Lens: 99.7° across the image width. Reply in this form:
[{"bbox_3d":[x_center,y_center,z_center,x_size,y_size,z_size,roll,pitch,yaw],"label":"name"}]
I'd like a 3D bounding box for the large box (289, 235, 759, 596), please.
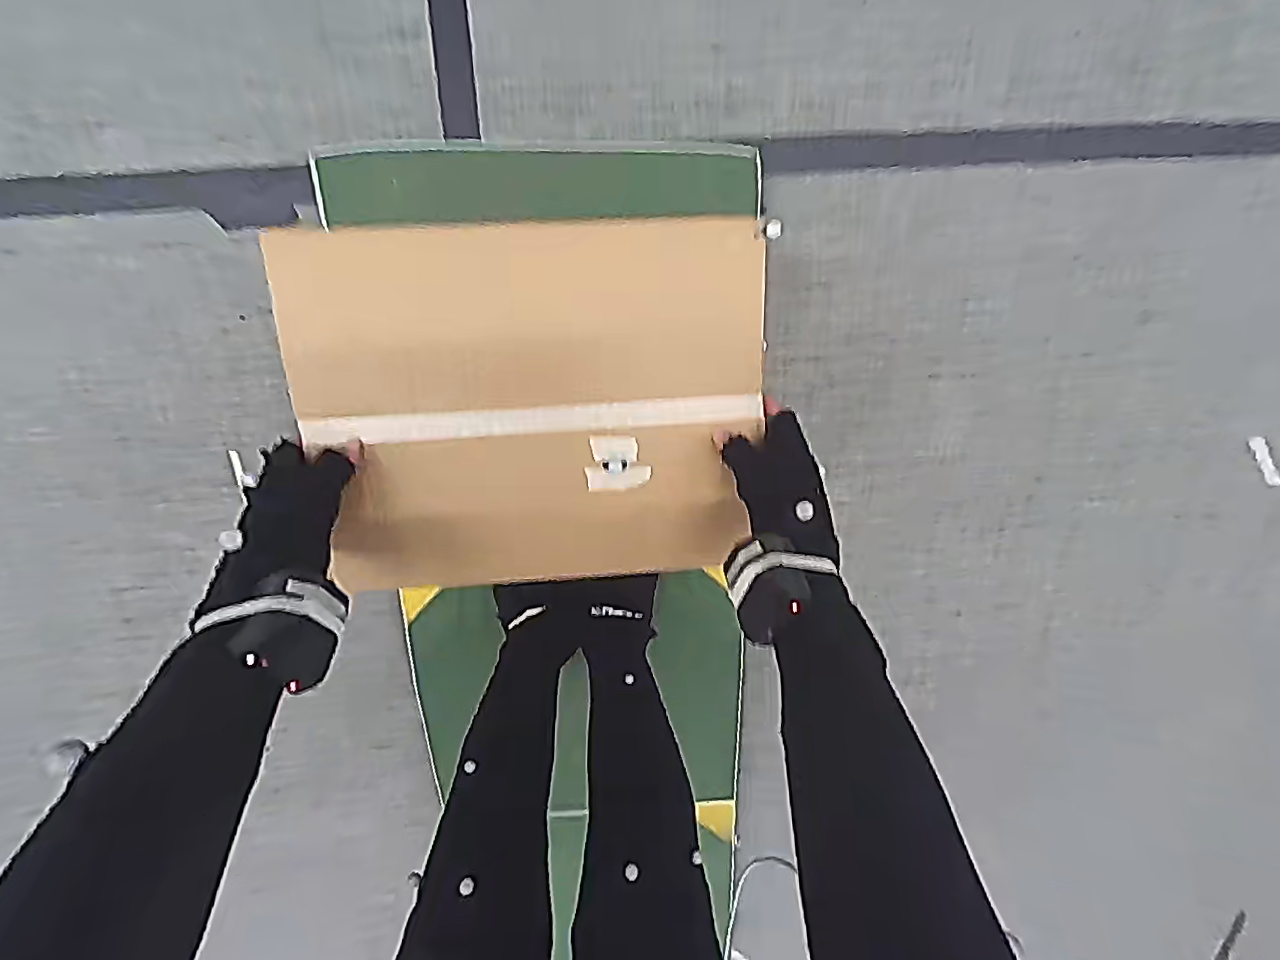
[{"bbox_3d":[-0.100,-0.086,0.637,0.408,0.320,0.320,-4,105,-4],"label":"large box"}]
